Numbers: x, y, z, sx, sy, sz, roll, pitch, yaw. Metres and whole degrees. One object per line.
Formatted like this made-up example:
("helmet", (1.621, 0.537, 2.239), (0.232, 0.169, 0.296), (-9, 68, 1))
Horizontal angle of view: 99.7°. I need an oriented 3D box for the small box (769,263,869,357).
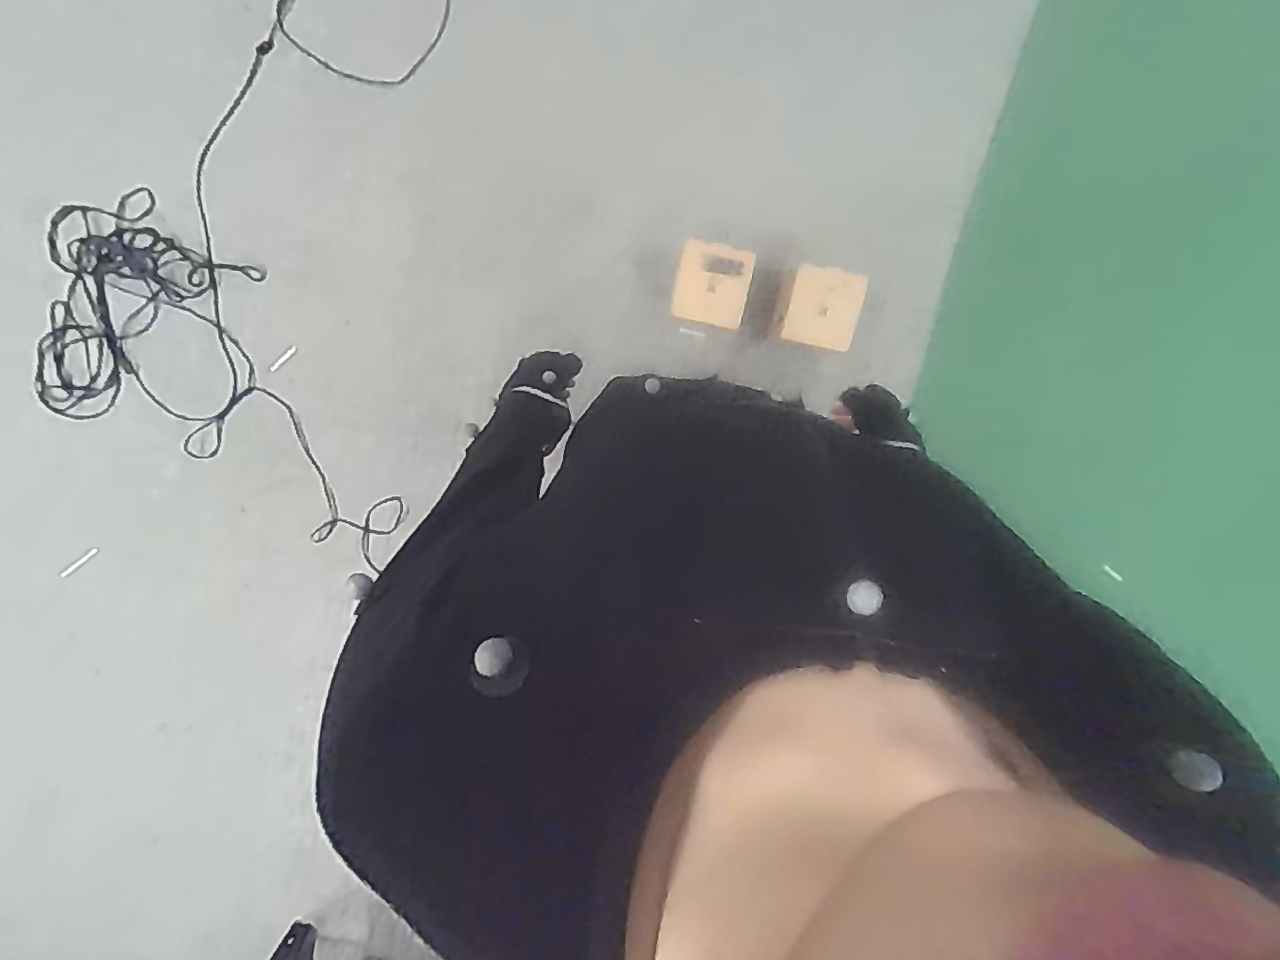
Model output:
("small box", (0.423, -0.402, 1.311), (0.168, 0.176, 0.179), (13, 100, -2))
